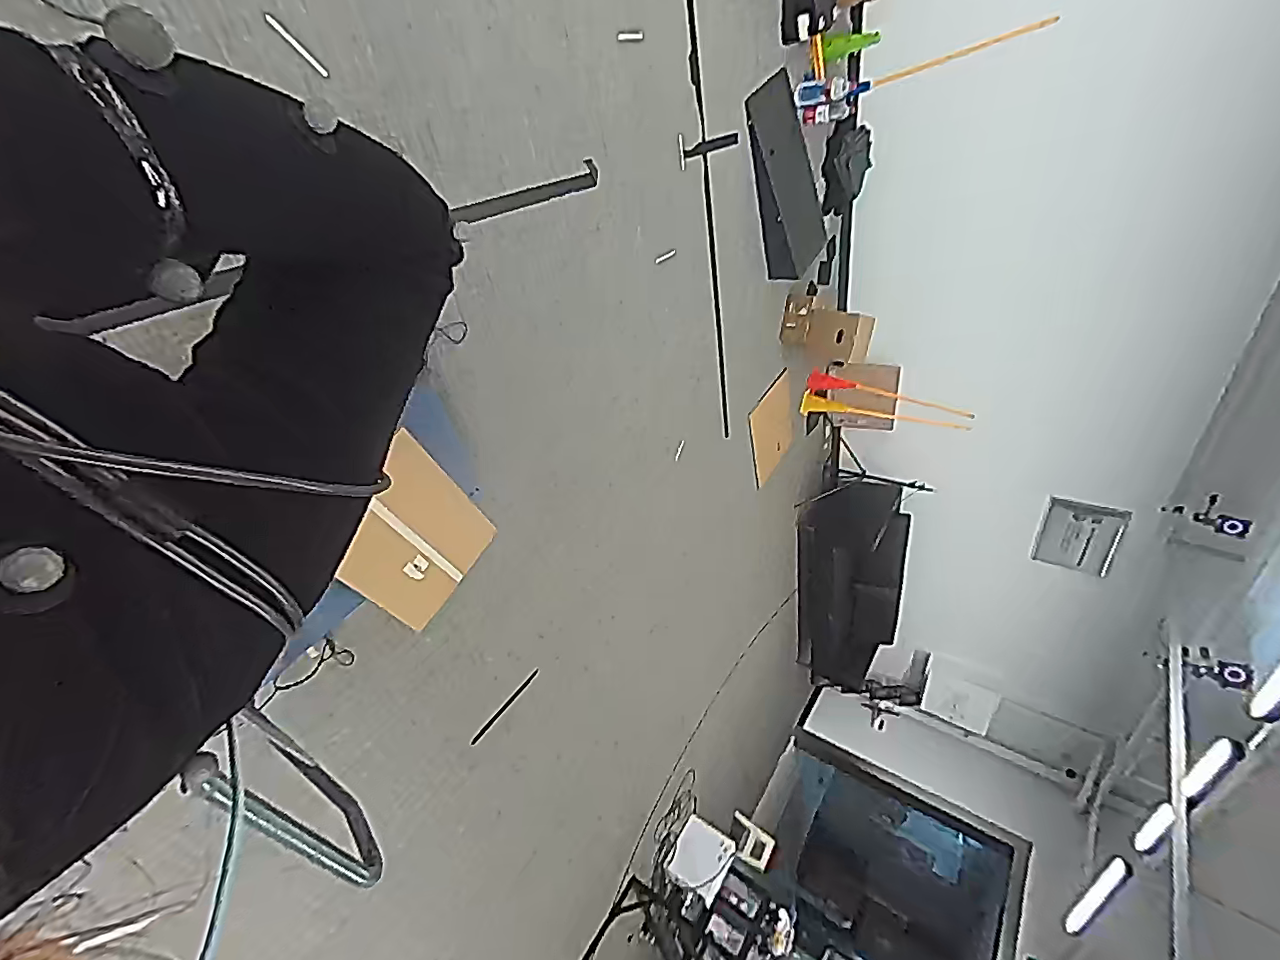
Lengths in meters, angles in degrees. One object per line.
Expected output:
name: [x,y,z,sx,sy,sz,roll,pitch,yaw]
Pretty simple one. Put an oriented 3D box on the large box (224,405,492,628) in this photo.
large box: [-0.642,0.084,1.282,0.320,0.320,0.408,-55,143,-25]
